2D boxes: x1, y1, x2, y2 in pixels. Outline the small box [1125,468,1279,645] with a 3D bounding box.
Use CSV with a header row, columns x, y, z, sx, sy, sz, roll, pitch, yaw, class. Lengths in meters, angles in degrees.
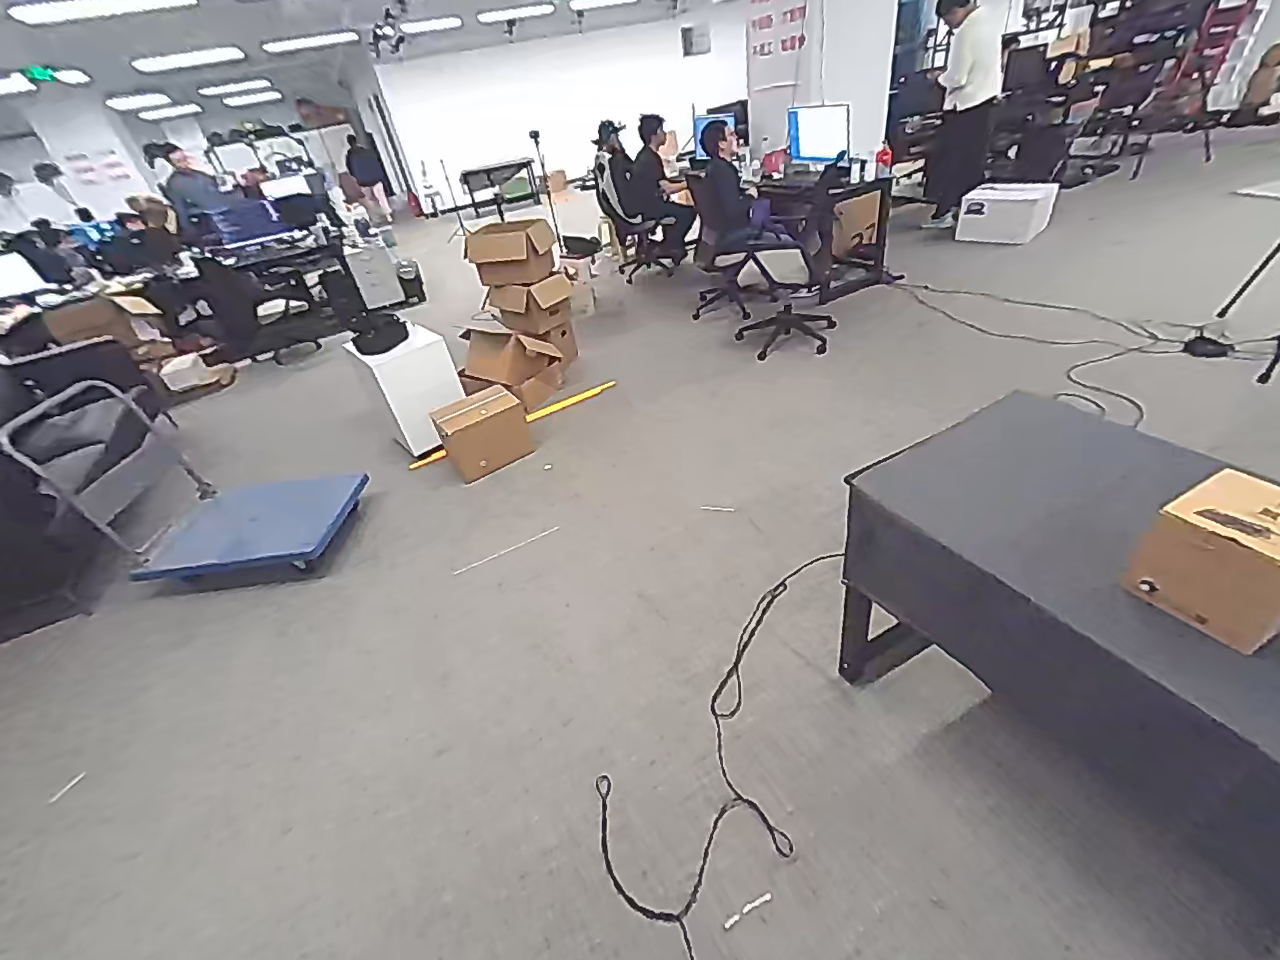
x,y,z,sx,sy,sz,roll,pitch,yaw,class
0.887,0.114,0.815,0.179,0.176,0.168,-23,37,-17,small box
